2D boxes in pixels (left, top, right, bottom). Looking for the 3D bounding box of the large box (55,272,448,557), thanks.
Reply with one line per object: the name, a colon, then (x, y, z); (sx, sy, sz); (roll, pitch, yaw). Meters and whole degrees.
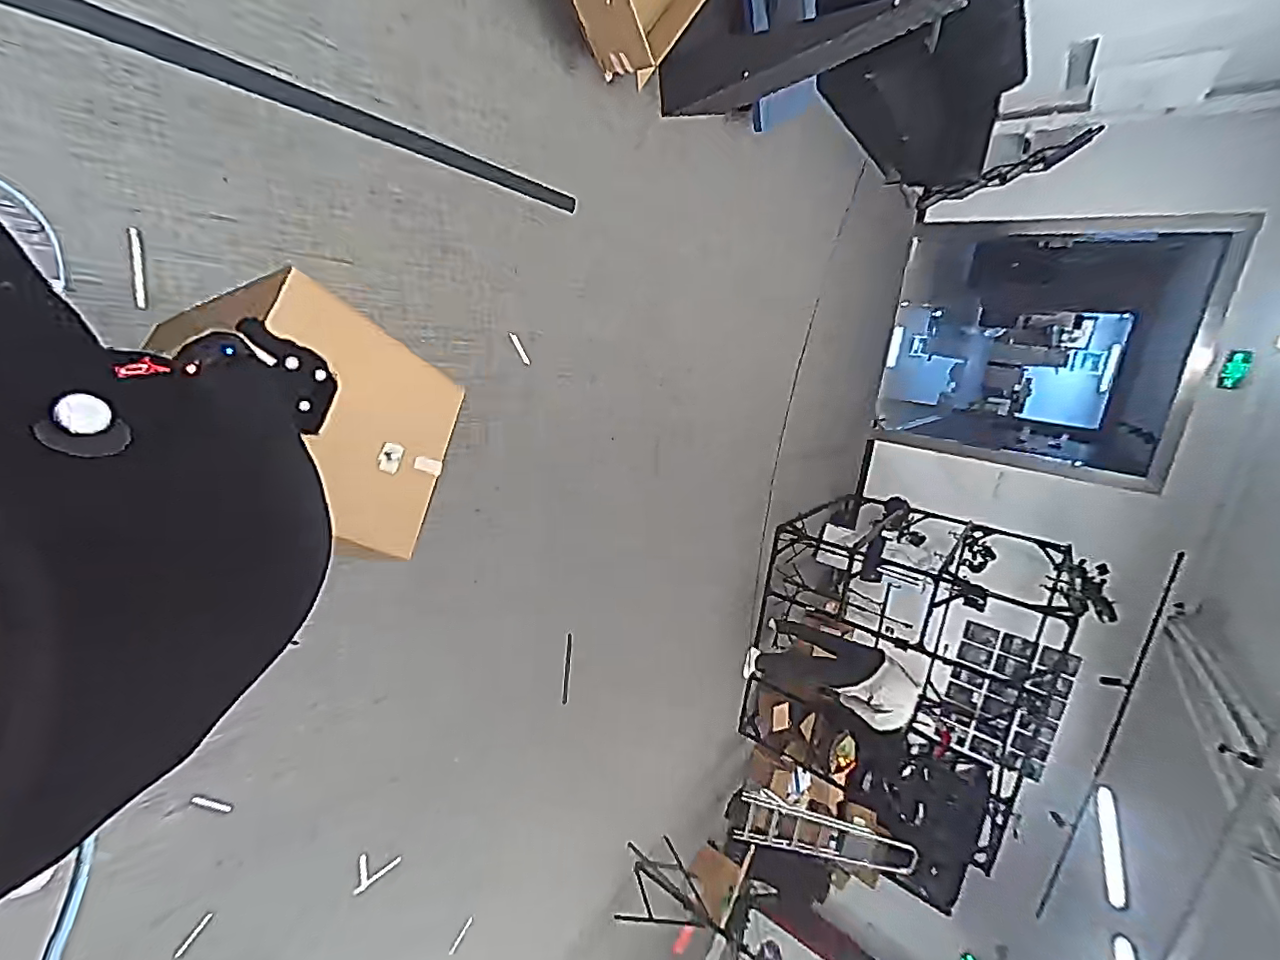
large box: (-0.587, -0.064, 0.862); (0.320, 0.408, 0.320); (41, 53, -51)
